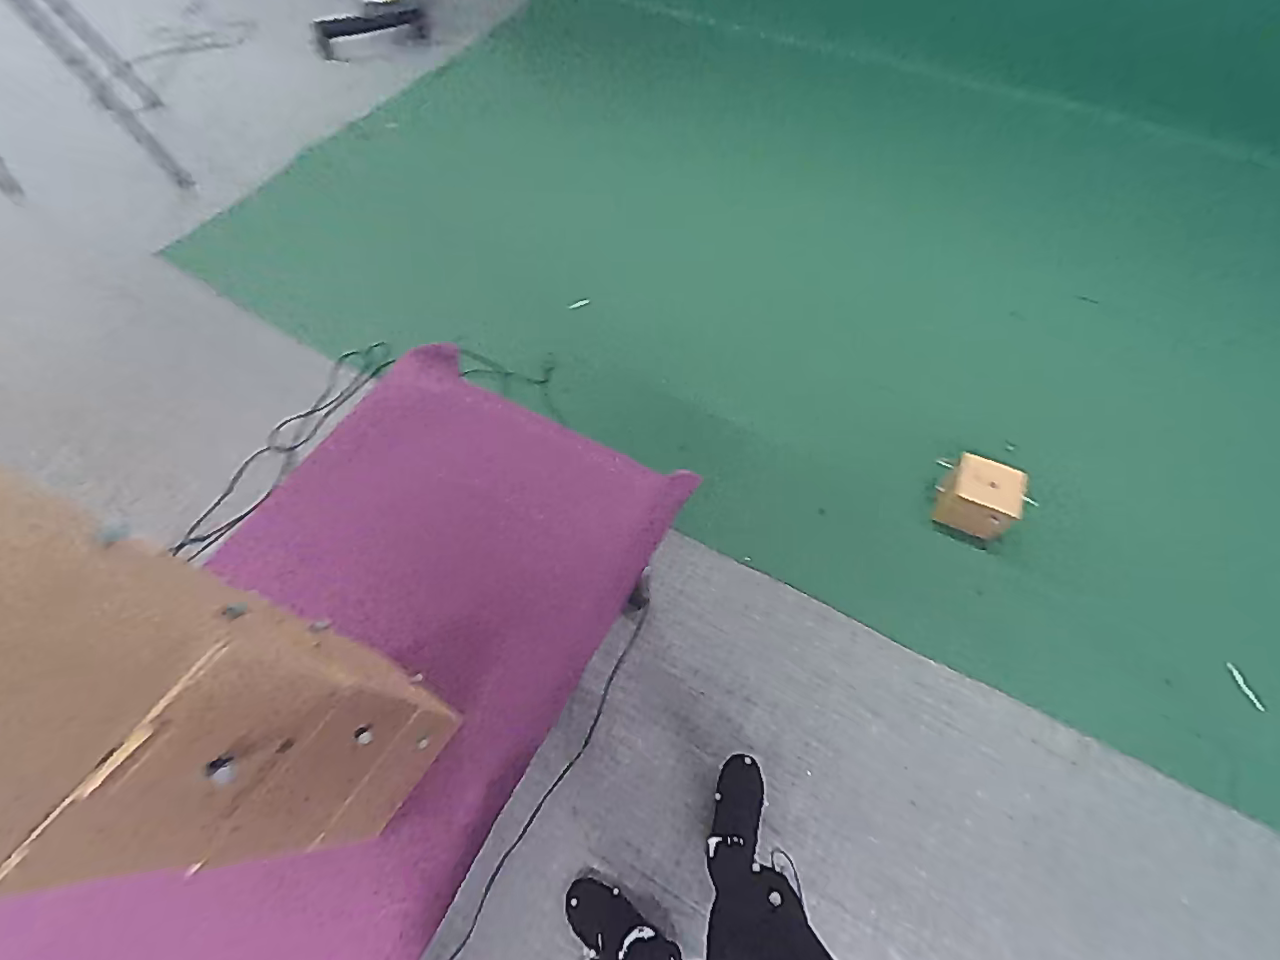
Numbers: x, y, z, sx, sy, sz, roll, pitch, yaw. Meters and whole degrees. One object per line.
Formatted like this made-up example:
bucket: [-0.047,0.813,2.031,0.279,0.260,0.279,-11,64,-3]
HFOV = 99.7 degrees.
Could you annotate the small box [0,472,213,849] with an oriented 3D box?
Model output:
small box: [-0.388,0.086,0.277,0.168,0.176,0.179,26,63,16]

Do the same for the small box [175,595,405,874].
small box: [-0.374,0.255,0.557,0.168,0.176,0.179,29,65,17]

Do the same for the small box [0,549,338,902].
small box: [-0.383,0.170,0.418,0.179,0.176,0.168,29,64,16]

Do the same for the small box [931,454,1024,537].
small box: [1.032,0.054,1.659,0.179,0.176,0.168,22,63,12]
